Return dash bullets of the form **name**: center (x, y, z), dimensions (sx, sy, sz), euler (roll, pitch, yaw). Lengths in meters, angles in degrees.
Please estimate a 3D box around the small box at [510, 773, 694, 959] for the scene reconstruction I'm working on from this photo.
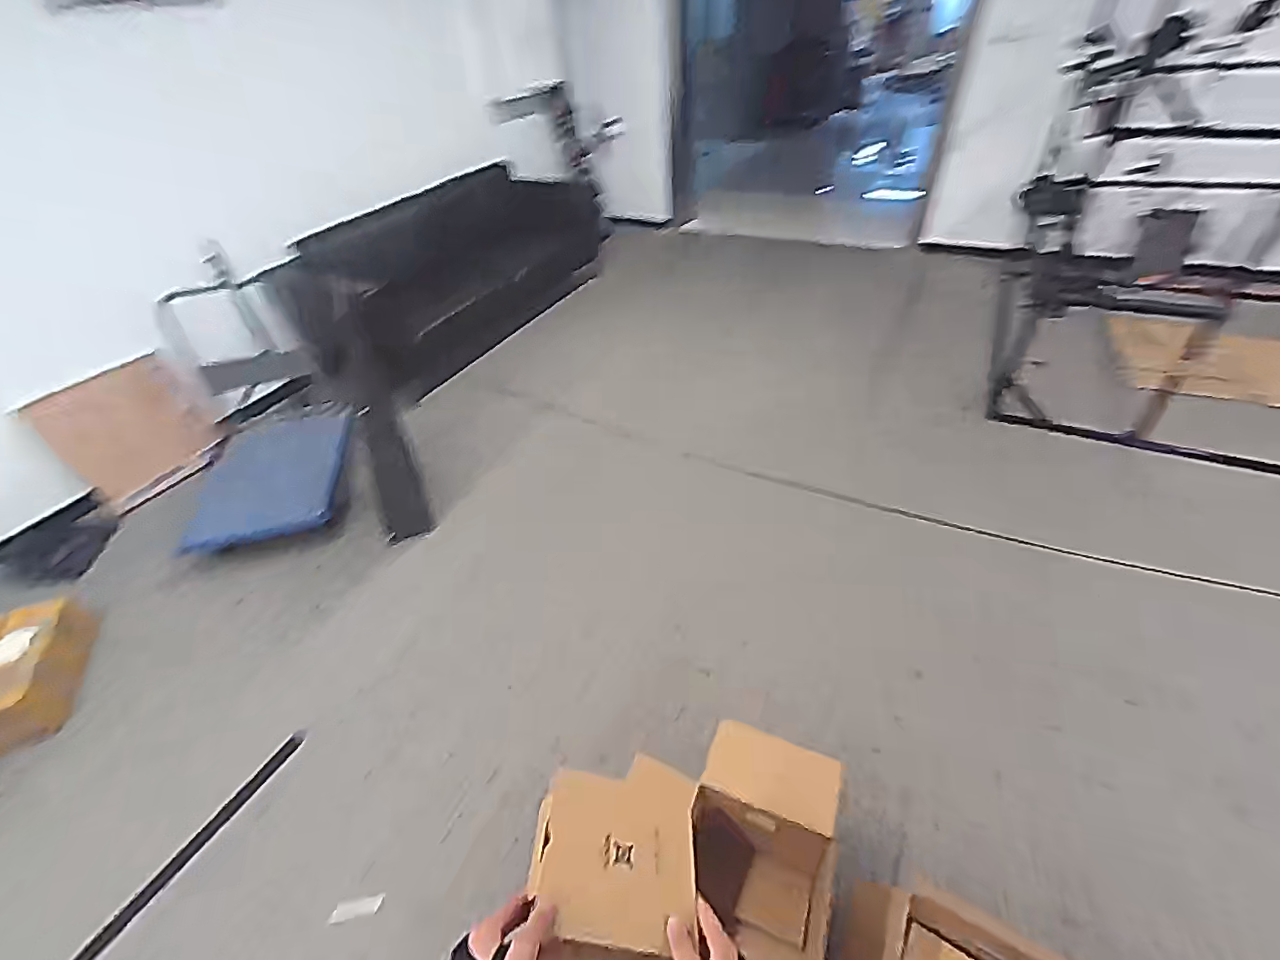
- **small box**: center (-0.047, 0.478, 0.627), dimensions (0.179, 0.176, 0.168), euler (12, 29, -6)
